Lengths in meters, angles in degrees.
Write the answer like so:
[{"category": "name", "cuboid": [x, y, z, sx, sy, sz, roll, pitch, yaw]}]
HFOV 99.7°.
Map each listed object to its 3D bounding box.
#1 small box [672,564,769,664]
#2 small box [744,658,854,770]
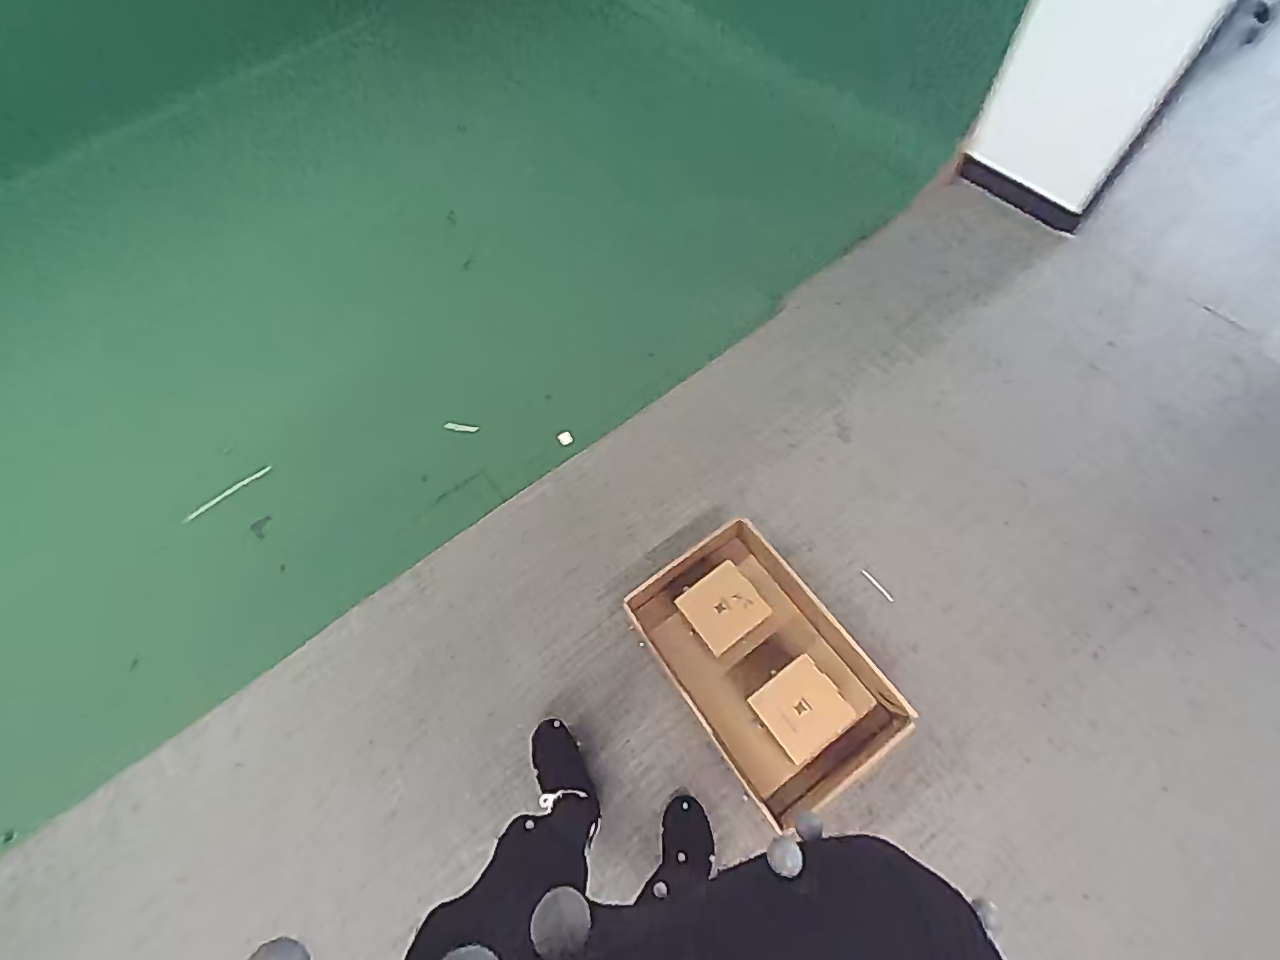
[{"category": "small box", "cuboid": [0.201, 0.344, 1.366, 0.179, 0.176, 0.168, -34, 67, -10]}, {"category": "small box", "cuboid": [0.358, 0.542, 1.258, 0.179, 0.176, 0.168, -35, 65, -9]}]
